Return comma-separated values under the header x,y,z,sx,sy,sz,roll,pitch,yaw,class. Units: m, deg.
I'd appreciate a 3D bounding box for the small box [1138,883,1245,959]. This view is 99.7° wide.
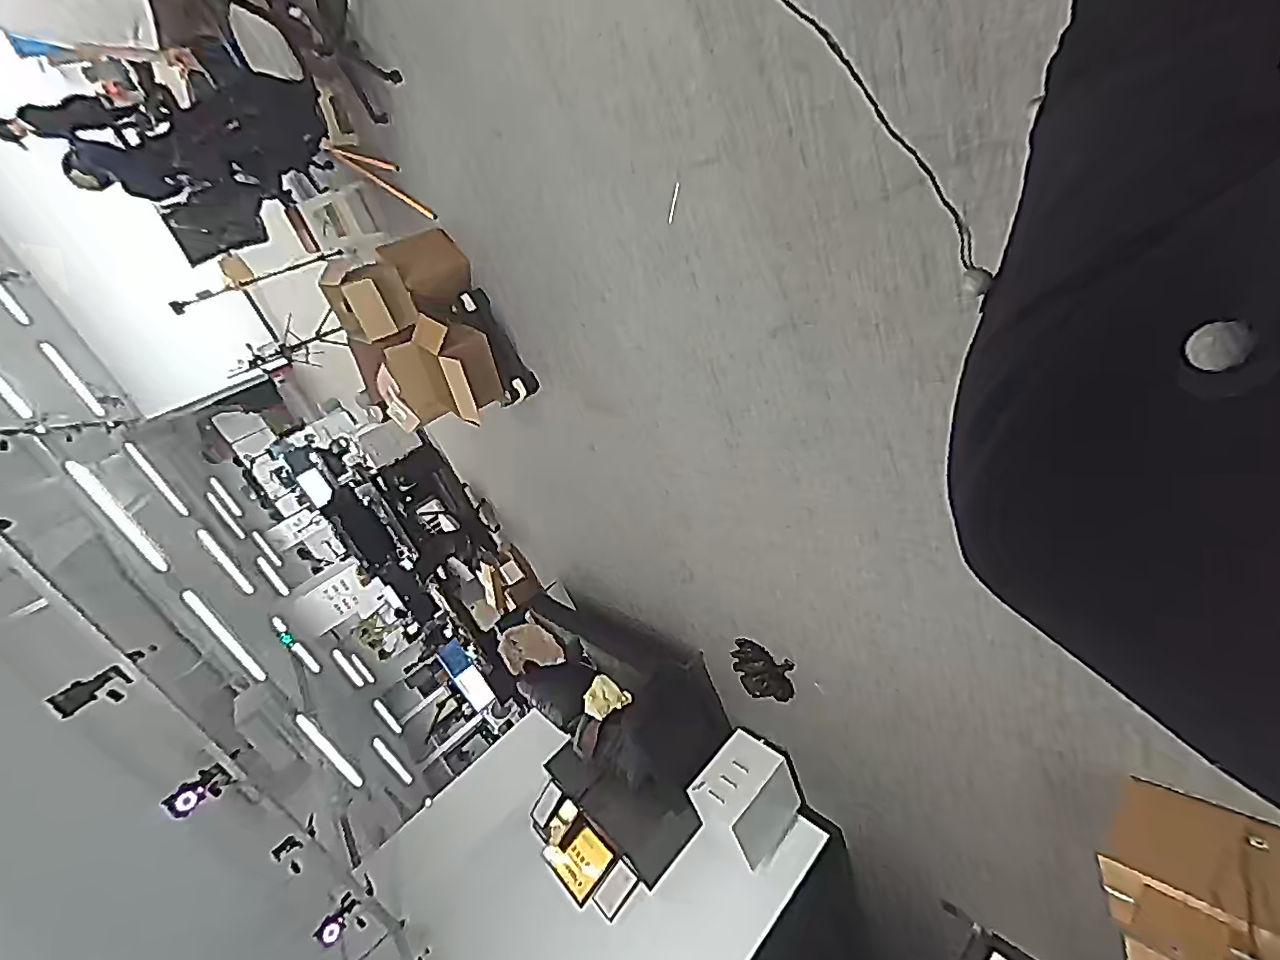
x,y,z,sx,sy,sz,roll,pitch,yaw,class
1.465,1.233,1.433,0.179,0.176,0.168,6,125,56,small box
